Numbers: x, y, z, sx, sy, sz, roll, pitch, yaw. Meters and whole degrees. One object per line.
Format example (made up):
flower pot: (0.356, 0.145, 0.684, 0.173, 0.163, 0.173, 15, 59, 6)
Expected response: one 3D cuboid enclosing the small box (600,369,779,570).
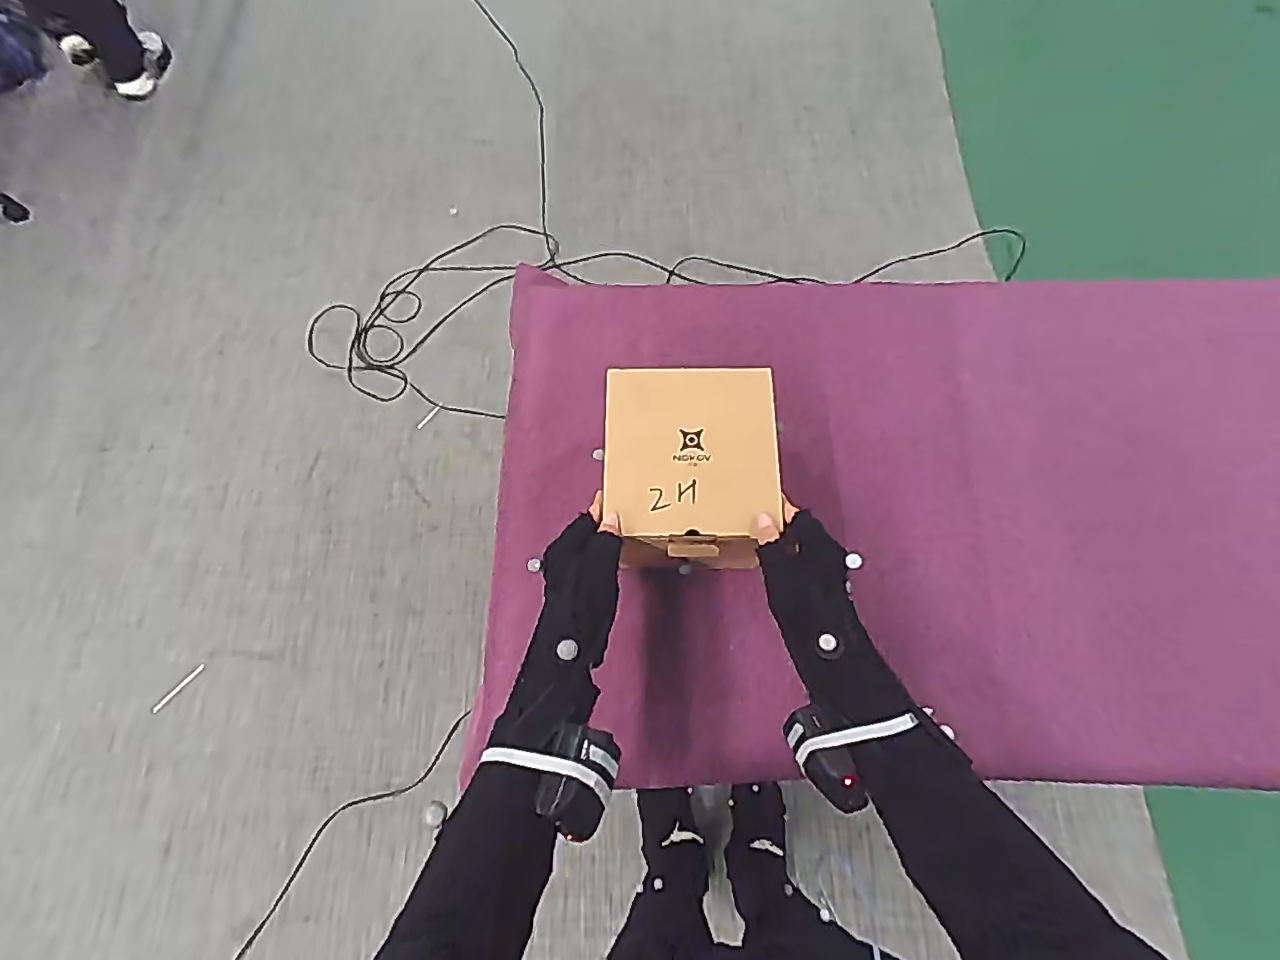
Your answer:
small box: (0.049, -0.004, 0.594, 0.168, 0.176, 0.179, 0, 72, 3)
